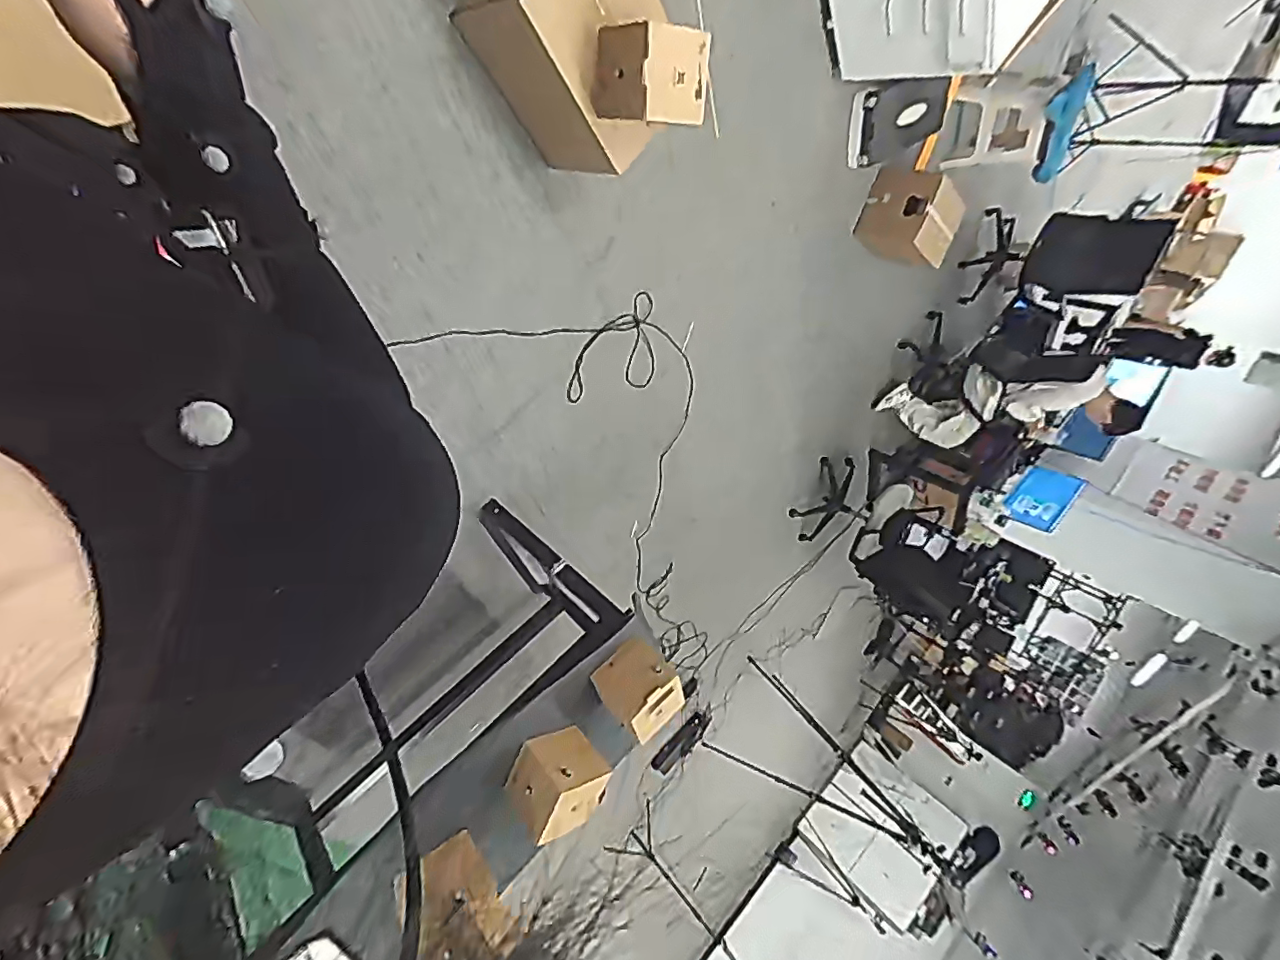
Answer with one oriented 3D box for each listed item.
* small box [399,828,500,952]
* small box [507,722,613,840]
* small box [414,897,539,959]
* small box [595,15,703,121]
[{"bbox_3d":[-0.447,0.972,1.261,0.179,0.176,0.168,-17,127,-41],"label":"small box"},{"bbox_3d":[-0.207,0.750,1.370,0.179,0.176,0.168,9,109,-50],"label":"small box"},{"bbox_3d":[-0.342,1.032,1.149,0.168,0.176,0.179,-45,140,-17],"label":"small box"},{"bbox_3d":[0.013,-0.895,1.191,0.179,0.176,0.168,-22,130,-34],"label":"small box"}]
